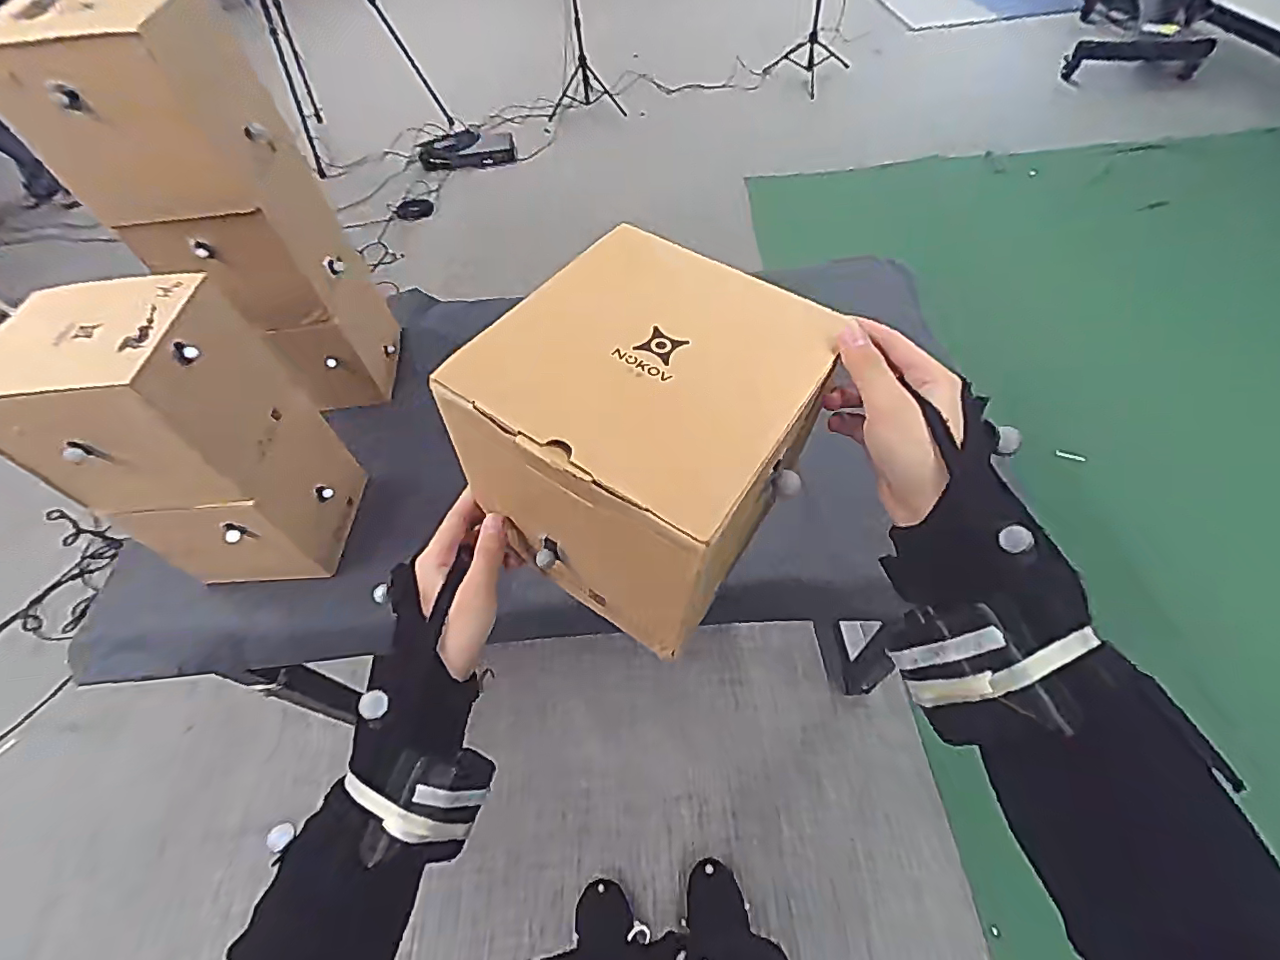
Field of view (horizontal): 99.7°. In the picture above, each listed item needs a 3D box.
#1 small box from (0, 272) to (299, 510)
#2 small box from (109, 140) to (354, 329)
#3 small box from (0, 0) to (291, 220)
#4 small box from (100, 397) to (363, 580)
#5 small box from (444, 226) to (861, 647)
[{"bbox_3d":[-0.501,-0.084,0.554,0.179,0.176,0.168,-7,54,0],"label":"small box"},{"bbox_3d":[-0.519,-0.318,0.721,0.179,0.176,0.168,-8,58,-2],"label":"small box"},{"bbox_3d":[-0.525,-0.401,0.579,0.179,0.176,0.168,-6,58,-1],"label":"small box"},{"bbox_3d":[-0.486,0.016,0.683,0.179,0.176,0.168,-3,53,2],"label":"small box"},{"bbox_3d":[0.009,-0.024,0.356,0.168,0.176,0.179,31,61,17],"label":"small box"}]
